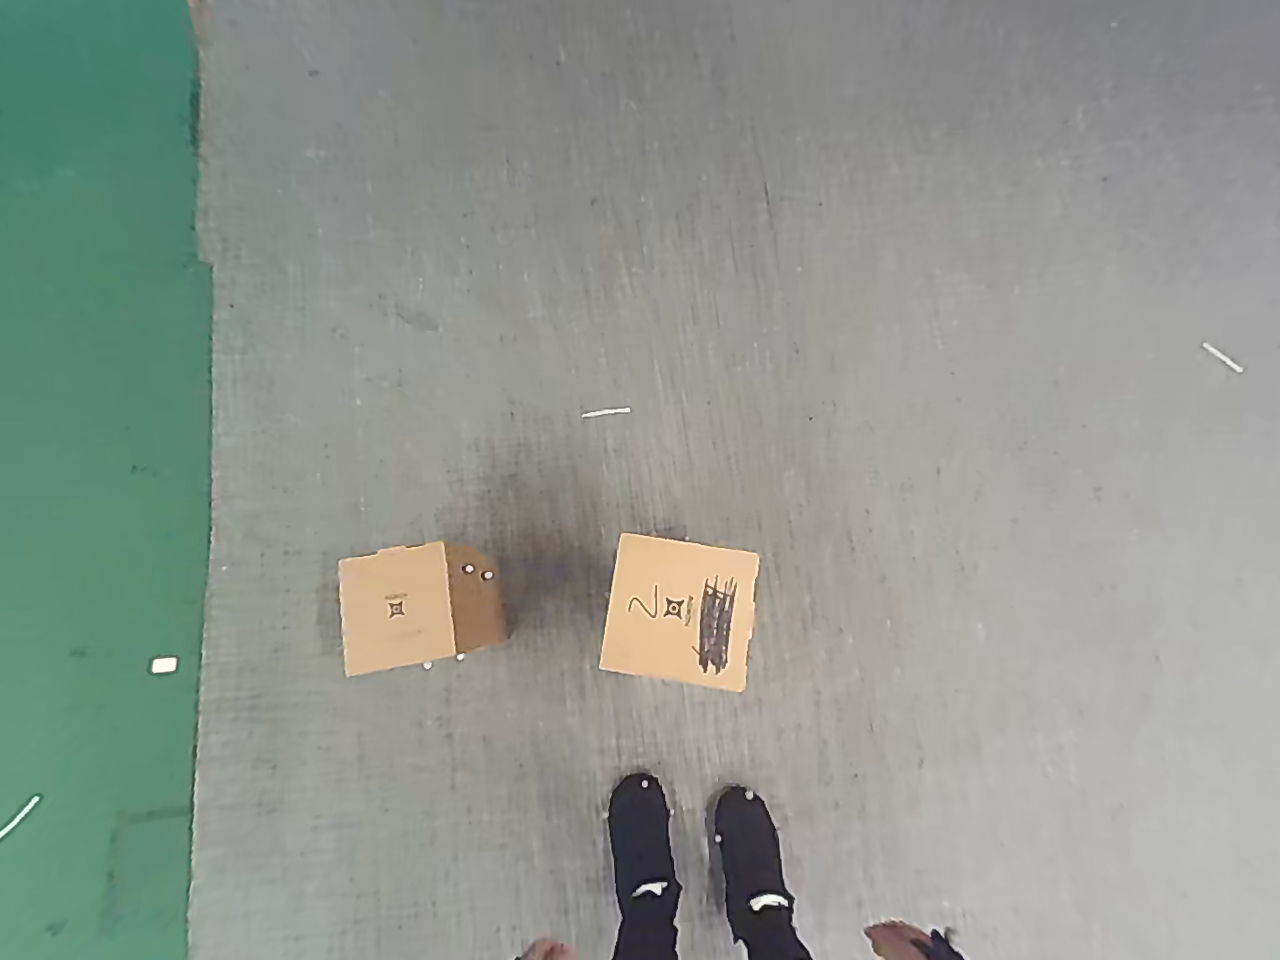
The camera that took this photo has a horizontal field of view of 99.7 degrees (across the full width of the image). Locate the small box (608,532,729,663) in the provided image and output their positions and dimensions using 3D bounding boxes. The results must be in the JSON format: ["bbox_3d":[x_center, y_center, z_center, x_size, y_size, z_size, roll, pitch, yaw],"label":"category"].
[{"bbox_3d":[0.045,0.188,0.883,0.168,0.176,0.179,7,79,2],"label":"small box"}]

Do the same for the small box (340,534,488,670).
[{"bbox_3d":[-0.358,0.196,0.881,0.168,0.176,0.179,-11,79,-1],"label":"small box"}]

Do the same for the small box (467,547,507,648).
[{"bbox_3d":[-0.364,0.236,1.038,0.168,0.176,0.179,-11,78,-2],"label":"small box"}]
